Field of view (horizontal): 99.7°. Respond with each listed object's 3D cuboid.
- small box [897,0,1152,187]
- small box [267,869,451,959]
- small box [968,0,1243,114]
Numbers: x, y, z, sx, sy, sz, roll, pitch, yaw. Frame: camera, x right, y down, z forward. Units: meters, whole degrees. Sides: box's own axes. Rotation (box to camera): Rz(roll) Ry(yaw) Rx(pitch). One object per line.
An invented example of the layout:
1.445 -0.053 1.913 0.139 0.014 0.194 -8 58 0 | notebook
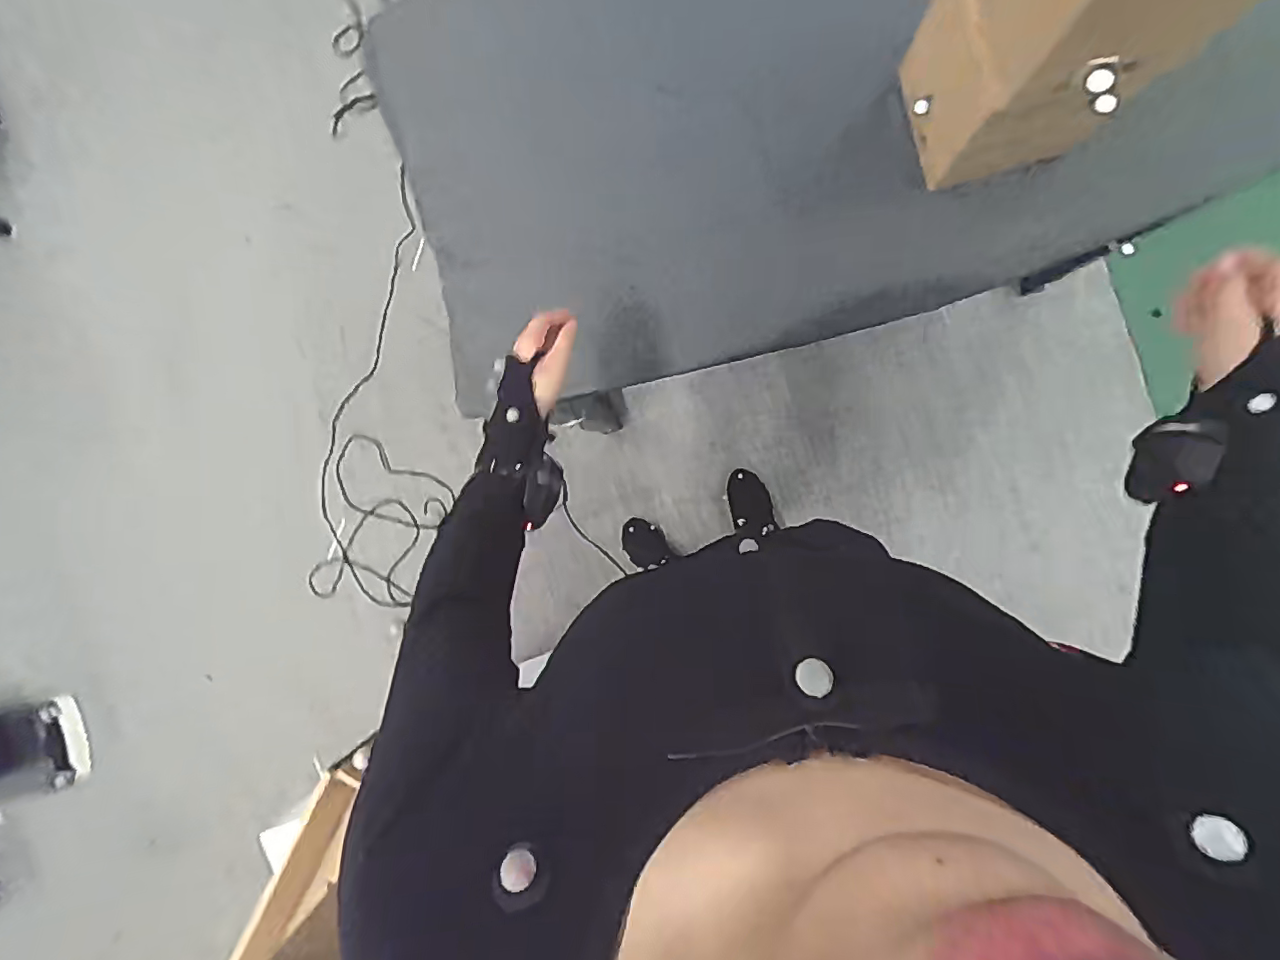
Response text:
0.420 -0.468 0.606 0.179 0.176 0.168 -14 89 9 | small box
-0.382 0.655 0.695 0.179 0.176 0.168 30 98 4 | small box
0.396 -0.457 0.446 0.168 0.176 0.179 -12 91 10 | small box
